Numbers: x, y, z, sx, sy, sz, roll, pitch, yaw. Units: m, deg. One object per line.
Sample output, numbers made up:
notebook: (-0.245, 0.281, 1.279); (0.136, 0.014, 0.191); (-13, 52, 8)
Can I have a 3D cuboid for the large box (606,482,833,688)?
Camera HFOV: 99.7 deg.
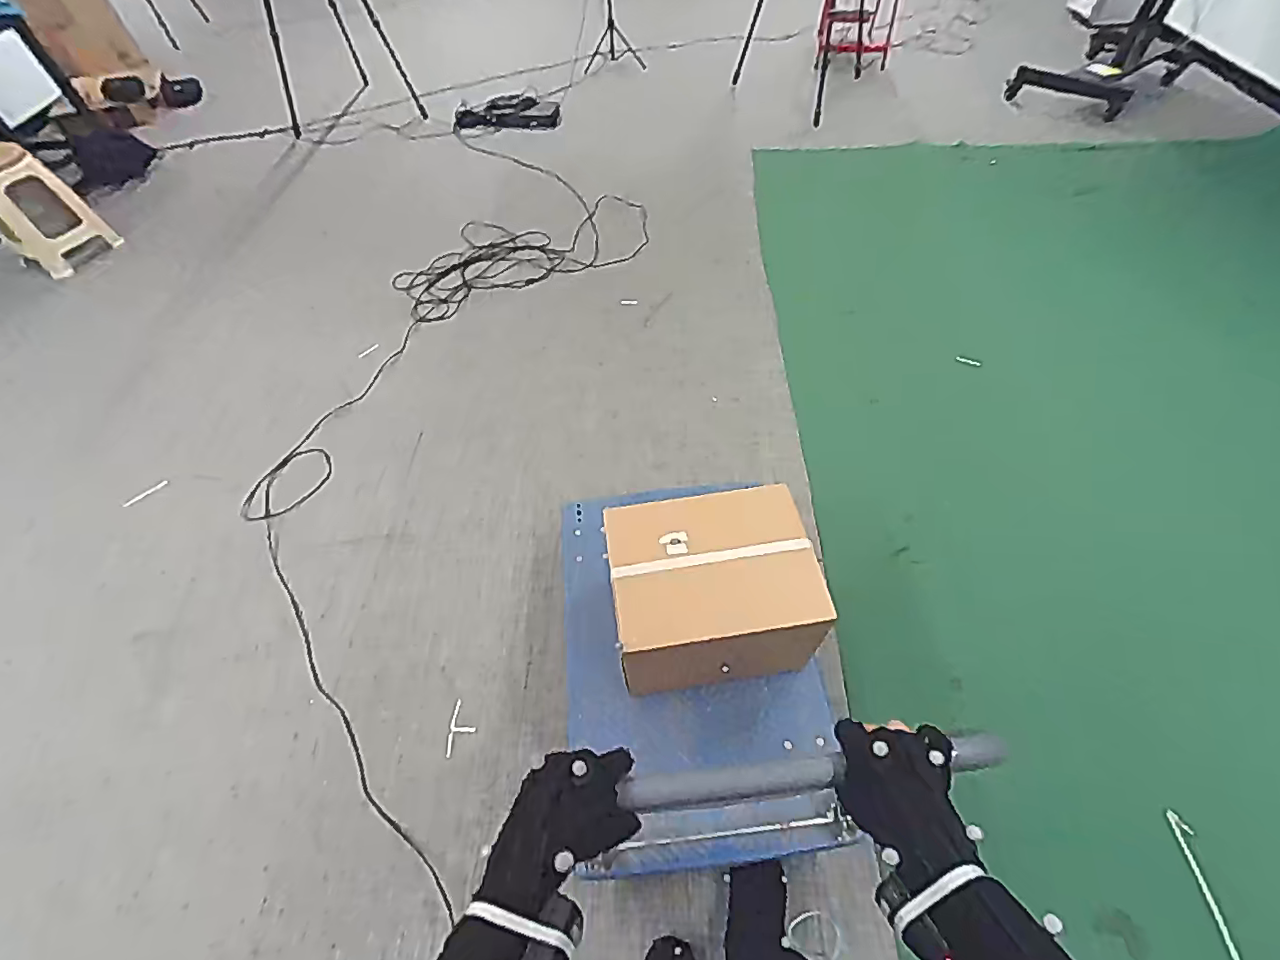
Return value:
large box: (0.156, 0.243, 1.212); (0.408, 0.320, 0.320); (-10, 55, -2)
